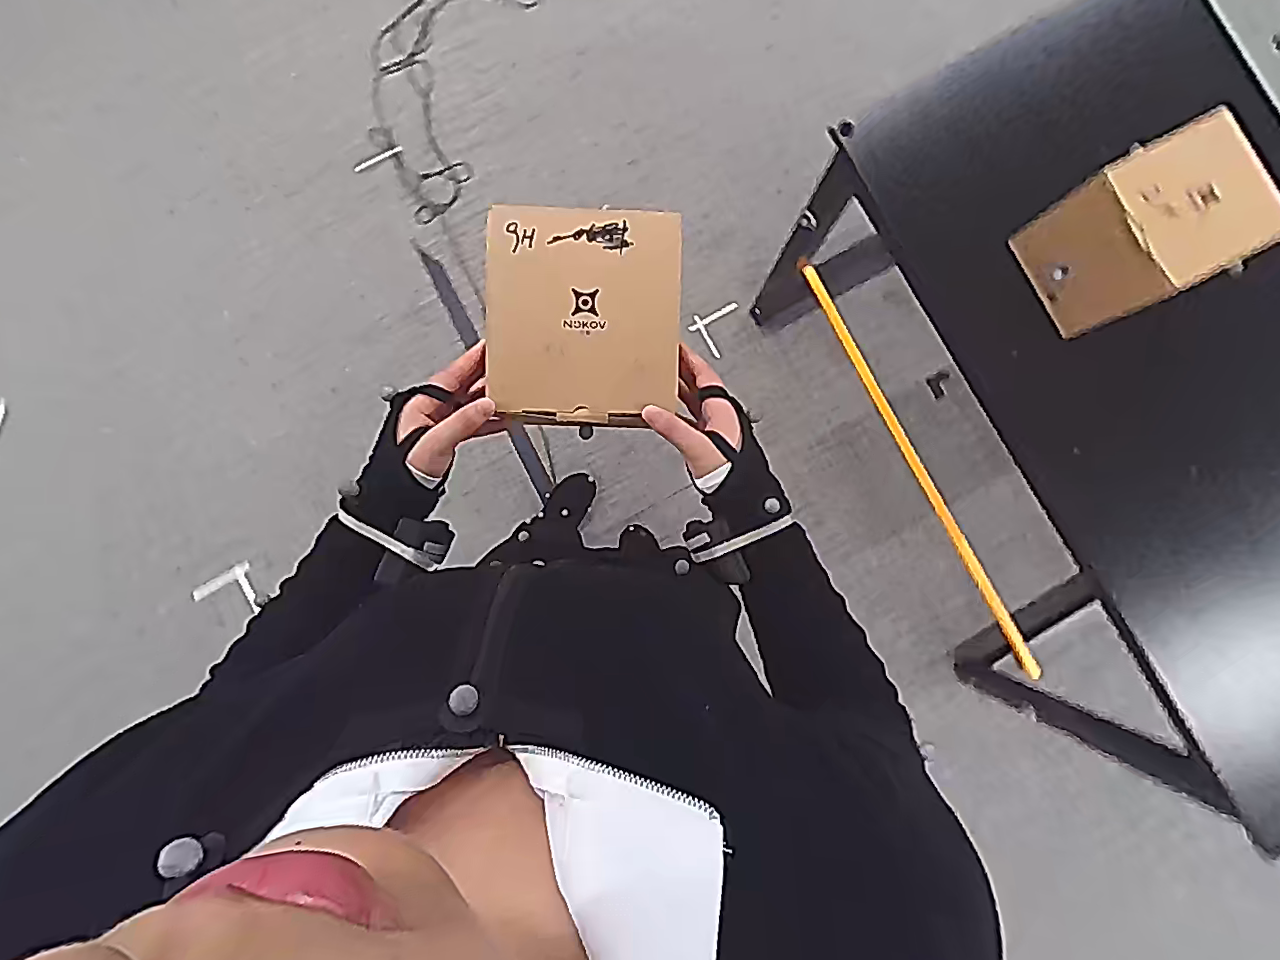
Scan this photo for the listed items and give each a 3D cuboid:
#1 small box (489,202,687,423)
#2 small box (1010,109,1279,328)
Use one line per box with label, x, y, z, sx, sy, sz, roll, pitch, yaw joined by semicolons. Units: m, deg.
small box;-0.048;-0.149;0.539;0.168;0.176;0.179;2;94;-3
small box;0.655;-0.332;0.721;0.179;0.176;0.168;-28;87;-2
